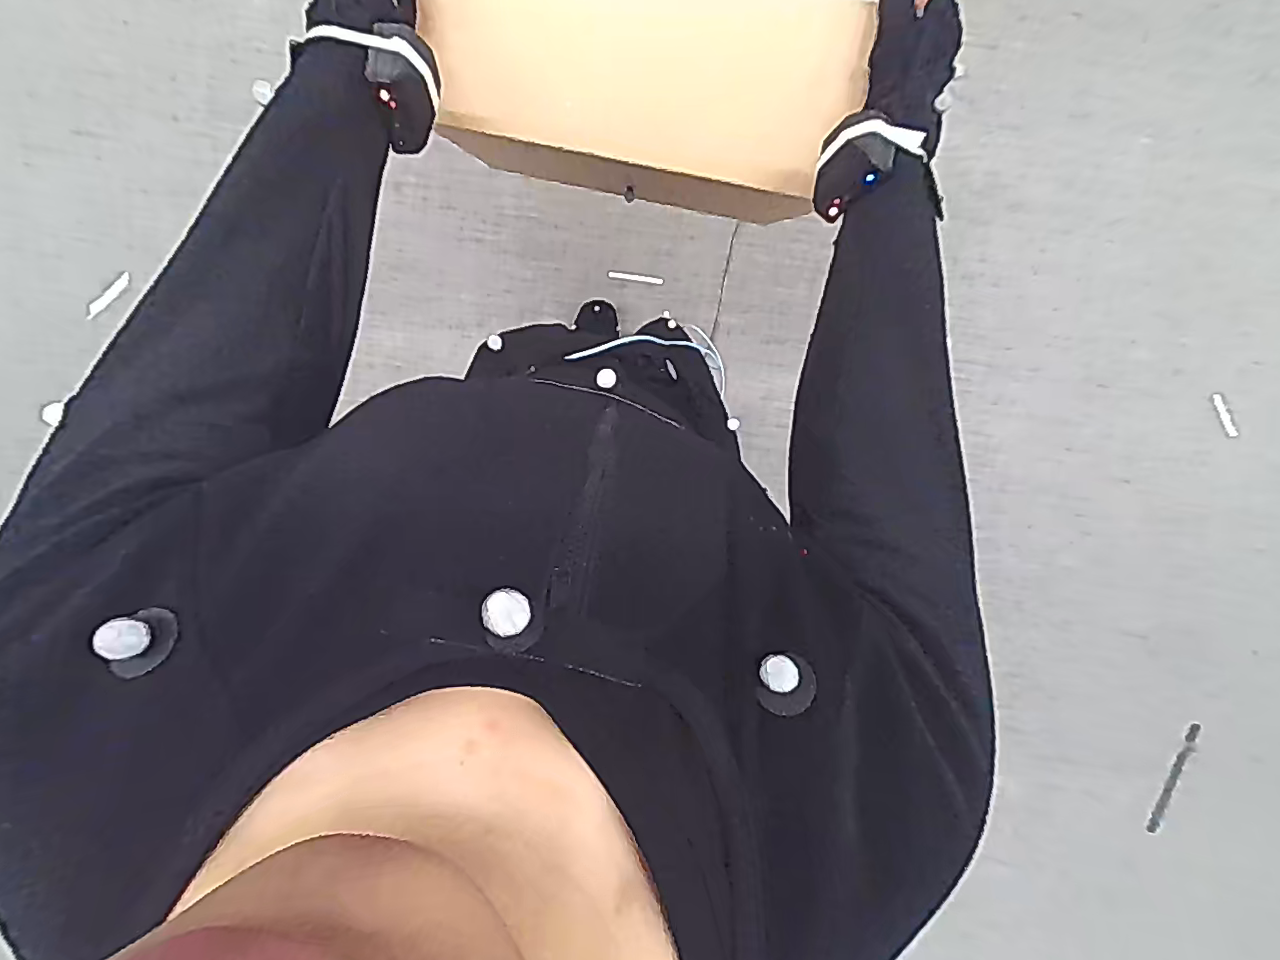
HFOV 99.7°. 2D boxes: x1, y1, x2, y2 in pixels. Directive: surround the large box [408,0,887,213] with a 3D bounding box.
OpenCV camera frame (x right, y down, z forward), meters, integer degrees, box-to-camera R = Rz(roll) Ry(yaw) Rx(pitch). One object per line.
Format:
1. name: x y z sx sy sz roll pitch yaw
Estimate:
1. large box: 0.017 -0.495 0.576 0.408 0.320 0.320 10 111 -4
